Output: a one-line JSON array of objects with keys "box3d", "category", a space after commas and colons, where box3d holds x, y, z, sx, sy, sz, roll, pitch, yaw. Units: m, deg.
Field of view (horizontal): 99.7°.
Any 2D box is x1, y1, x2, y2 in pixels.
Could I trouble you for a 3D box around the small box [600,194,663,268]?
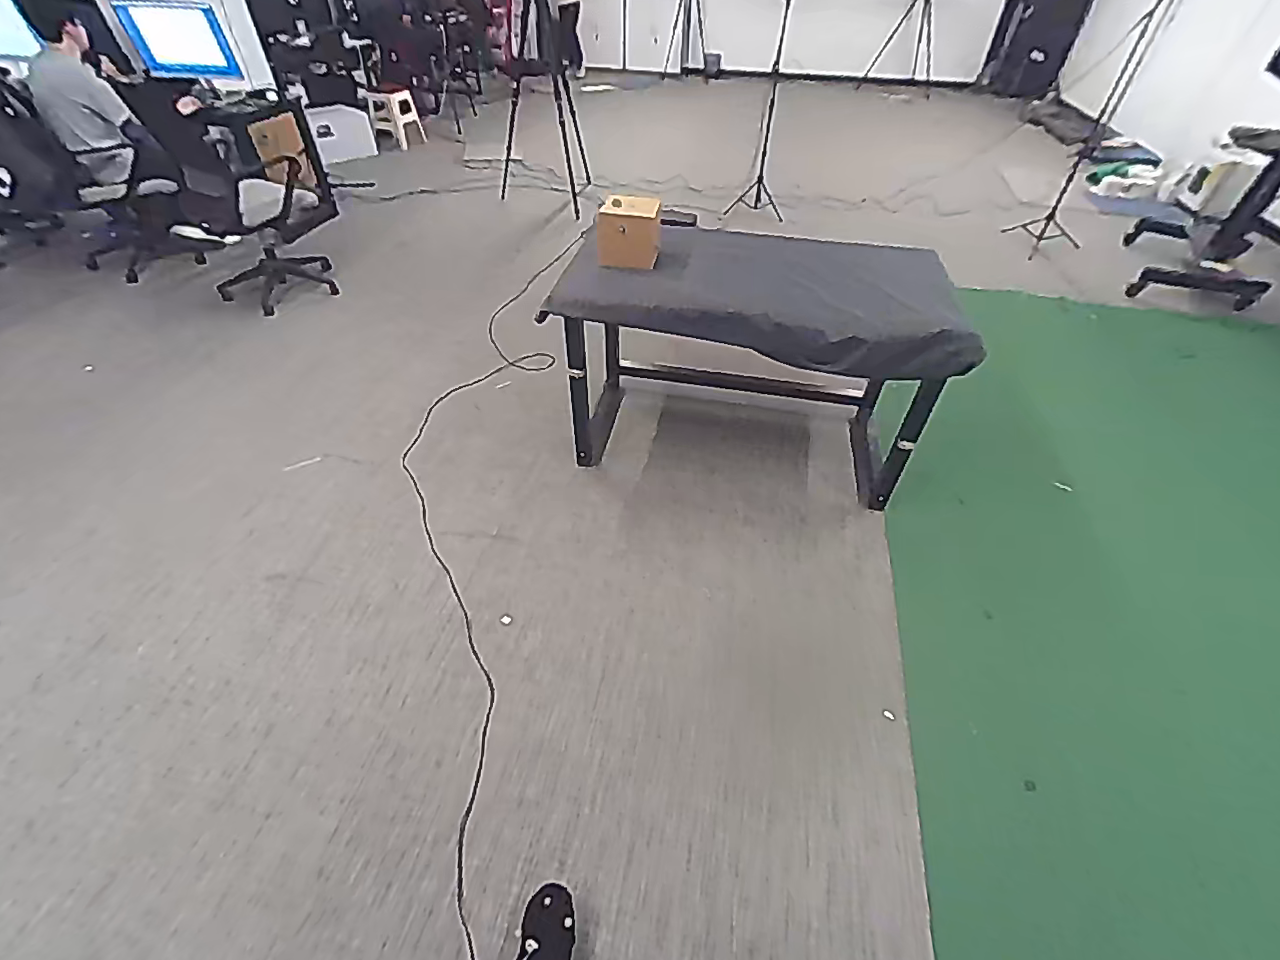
[{"box3d": [-0.026, -0.800, 1.742, 0.179, 0.176, 0.168, 8, 45, 5], "category": "small box"}]
